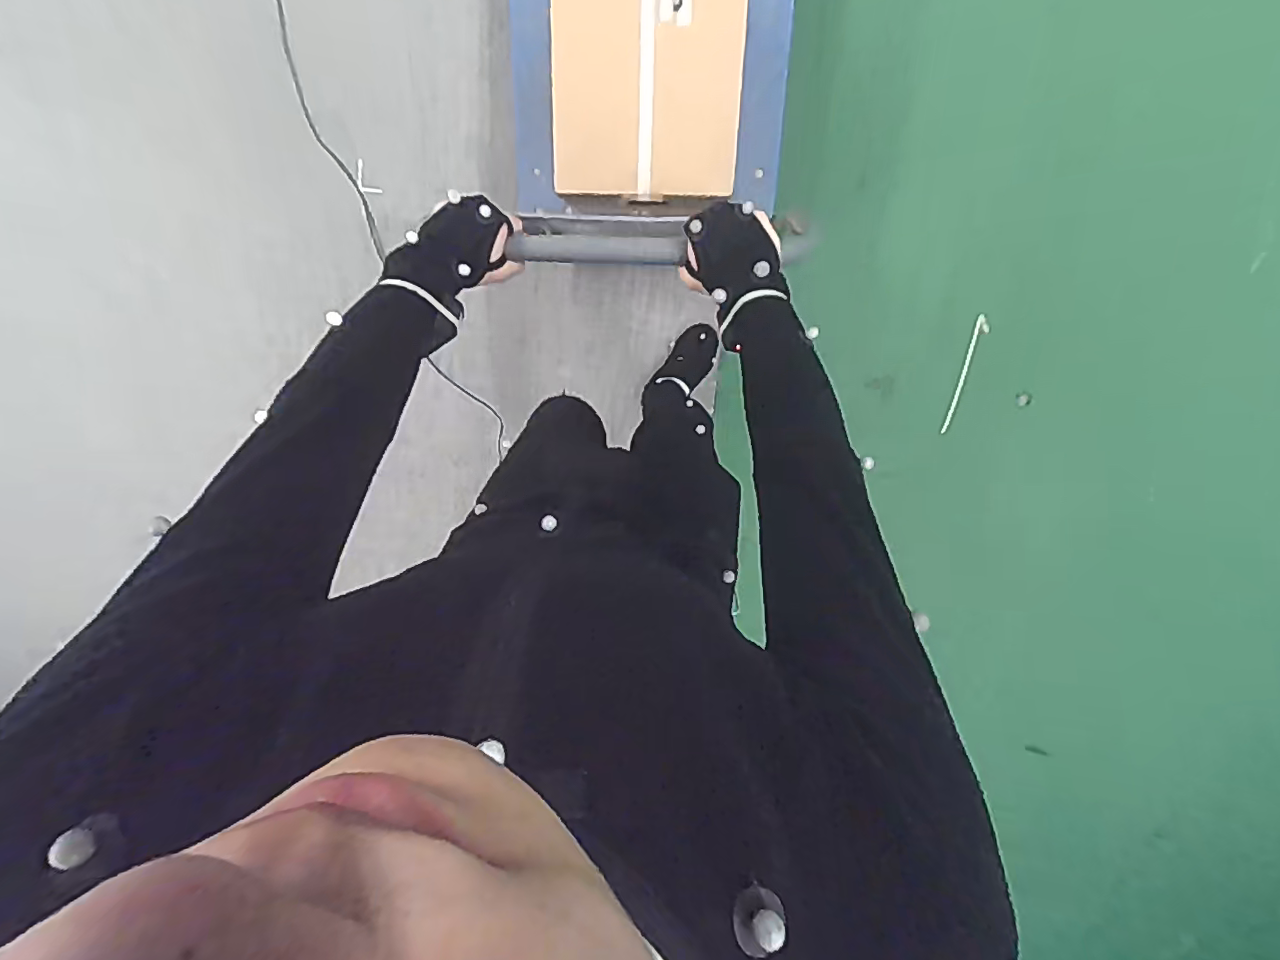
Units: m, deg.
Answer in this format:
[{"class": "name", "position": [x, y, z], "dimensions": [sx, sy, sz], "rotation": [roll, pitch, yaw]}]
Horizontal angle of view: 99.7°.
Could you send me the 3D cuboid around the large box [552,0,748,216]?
[{"class": "large box", "position": [0.025, -0.736, 1.016], "dimensions": [0.320, 0.320, 0.408], "rotation": [3, 109, 3]}]
